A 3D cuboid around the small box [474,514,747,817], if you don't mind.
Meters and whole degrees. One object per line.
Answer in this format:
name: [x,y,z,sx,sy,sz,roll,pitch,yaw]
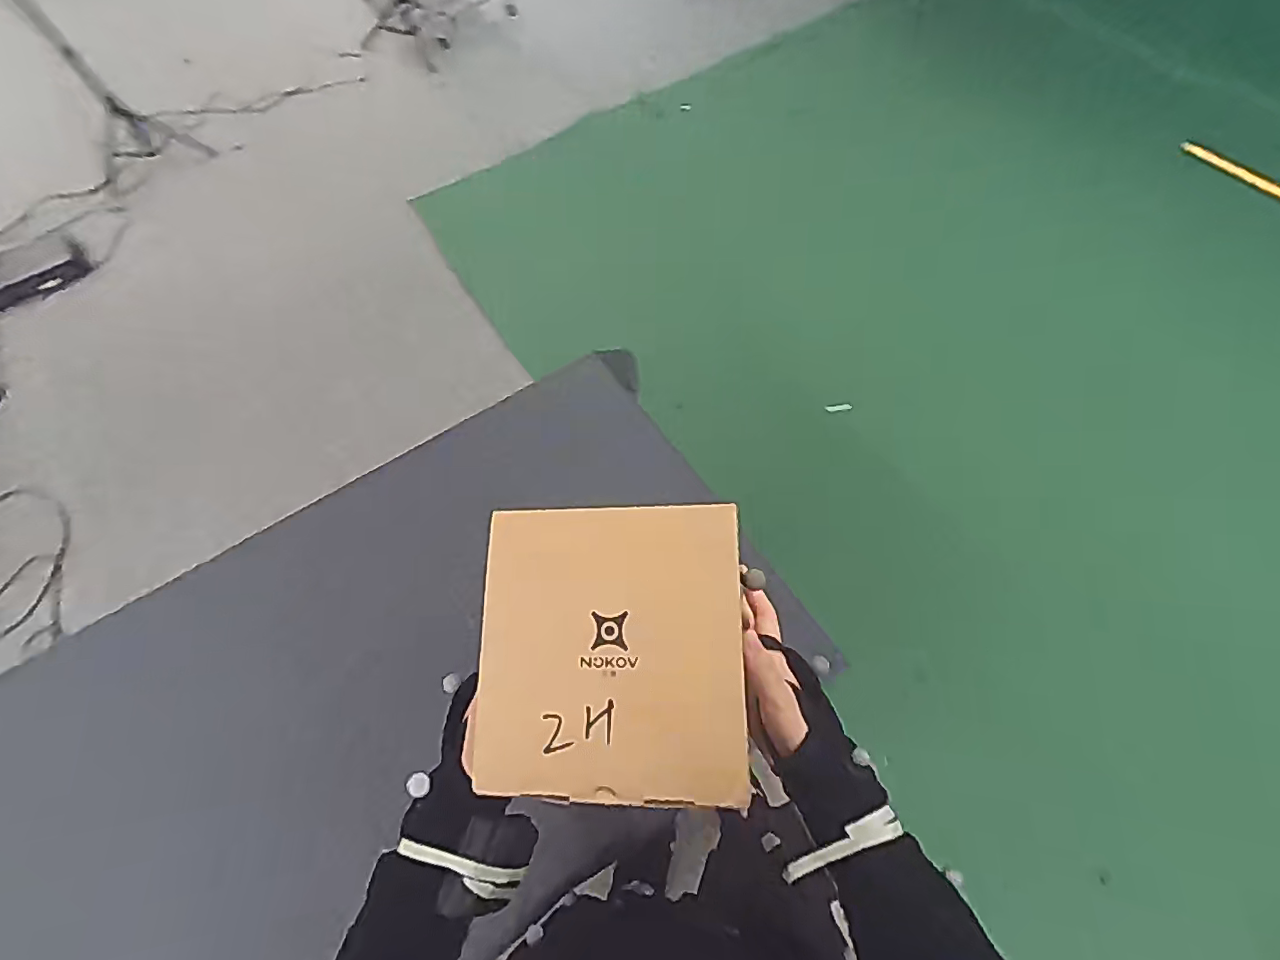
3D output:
small box: [-0.006,0.129,0.414,0.168,0.176,0.179,-2,74,10]
